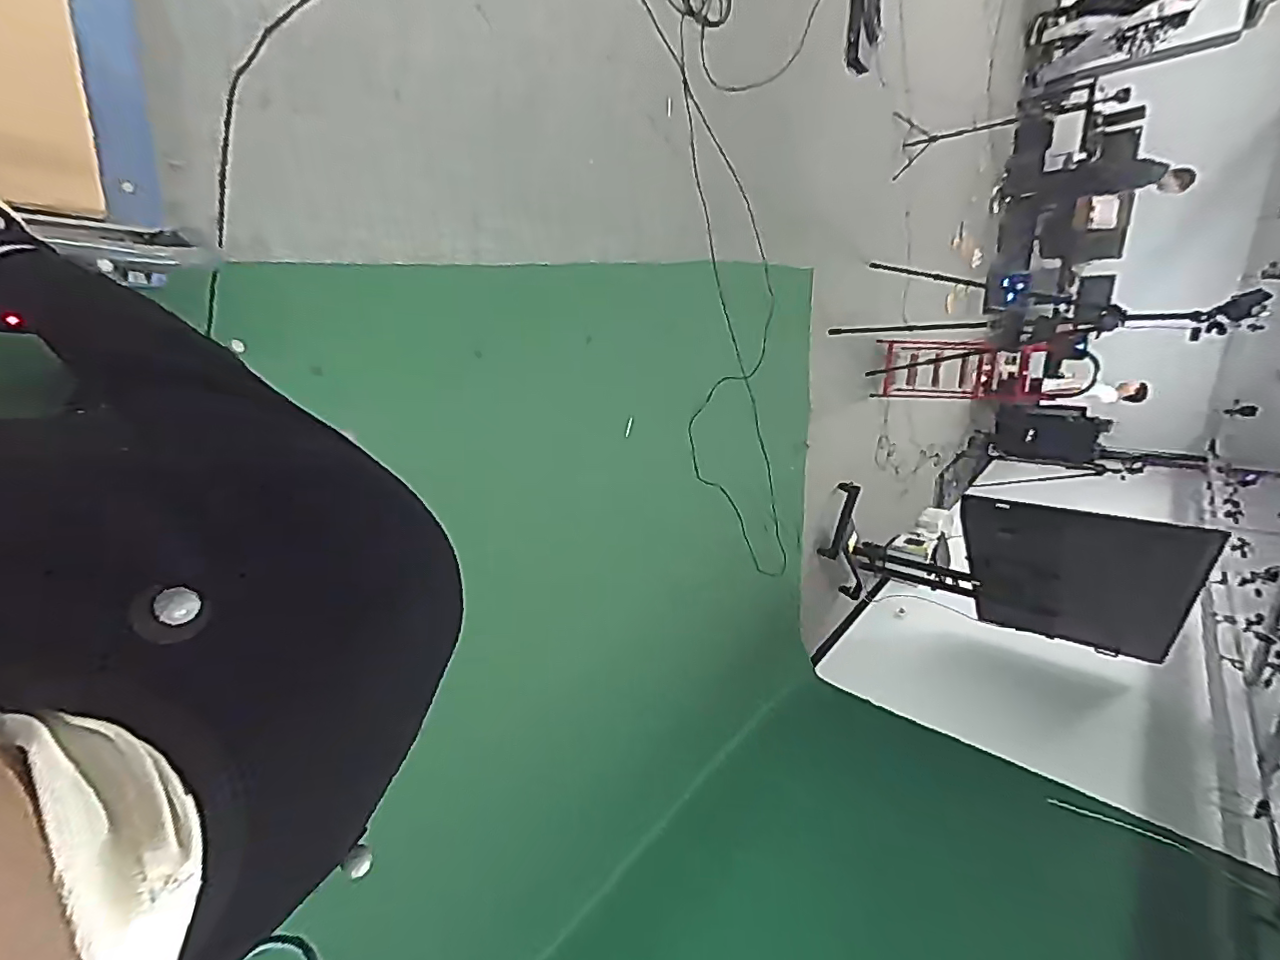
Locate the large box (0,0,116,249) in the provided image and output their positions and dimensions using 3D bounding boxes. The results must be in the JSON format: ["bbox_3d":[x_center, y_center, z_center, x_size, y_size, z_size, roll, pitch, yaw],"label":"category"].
[{"bbox_3d":[-0.998,-0.570,0.755,0.320,0.320,0.408,-14,108,-46],"label":"large box"}]
